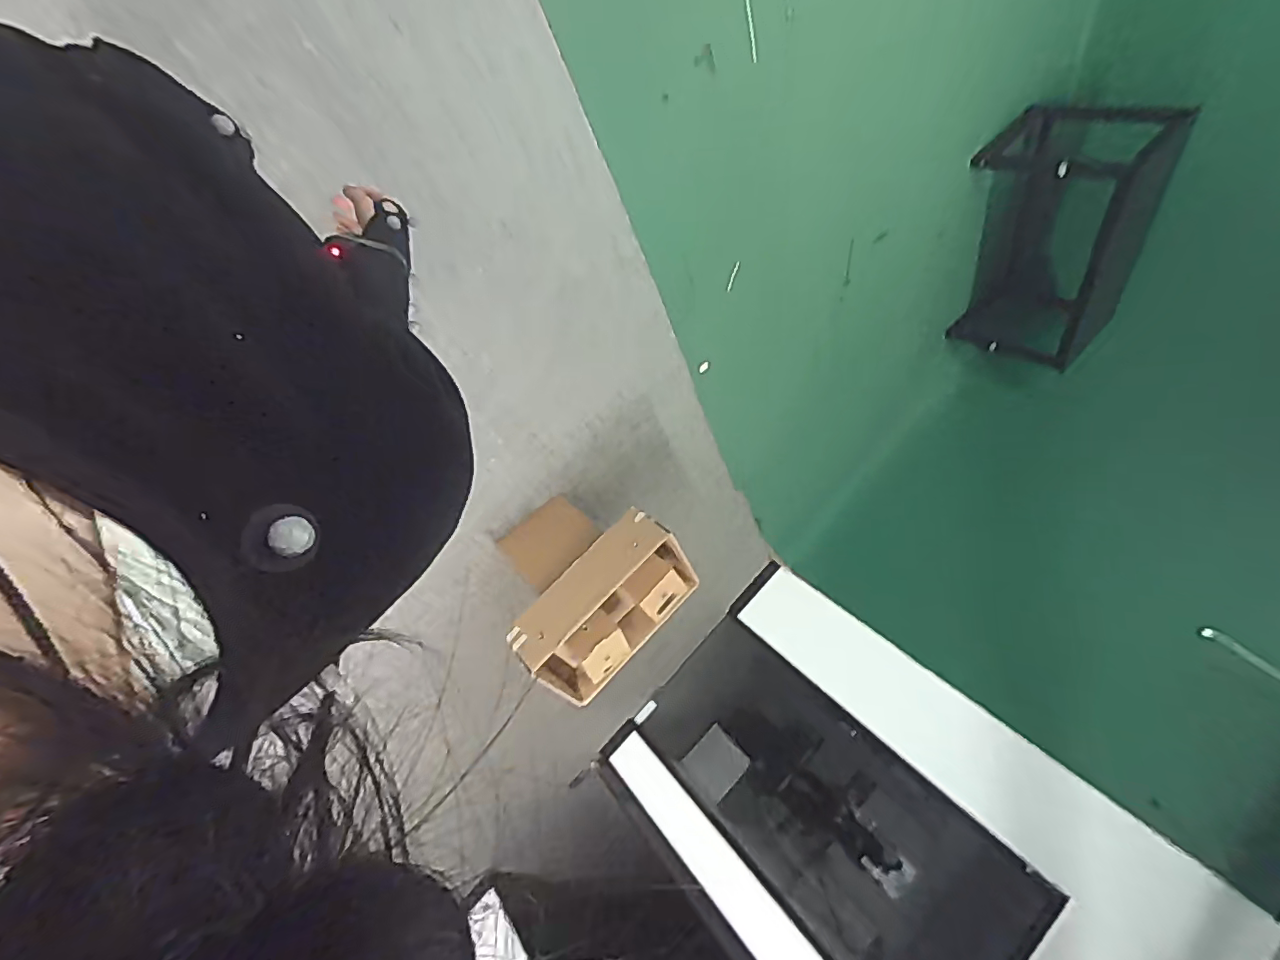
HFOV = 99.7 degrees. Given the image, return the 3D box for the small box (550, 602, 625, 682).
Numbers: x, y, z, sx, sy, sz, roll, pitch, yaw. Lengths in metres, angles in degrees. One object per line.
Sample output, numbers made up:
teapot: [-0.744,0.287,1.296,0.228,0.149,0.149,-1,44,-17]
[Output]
small box: [-0.181,0.541,1.833,0.168,0.176,0.179,-38,139,-20]
